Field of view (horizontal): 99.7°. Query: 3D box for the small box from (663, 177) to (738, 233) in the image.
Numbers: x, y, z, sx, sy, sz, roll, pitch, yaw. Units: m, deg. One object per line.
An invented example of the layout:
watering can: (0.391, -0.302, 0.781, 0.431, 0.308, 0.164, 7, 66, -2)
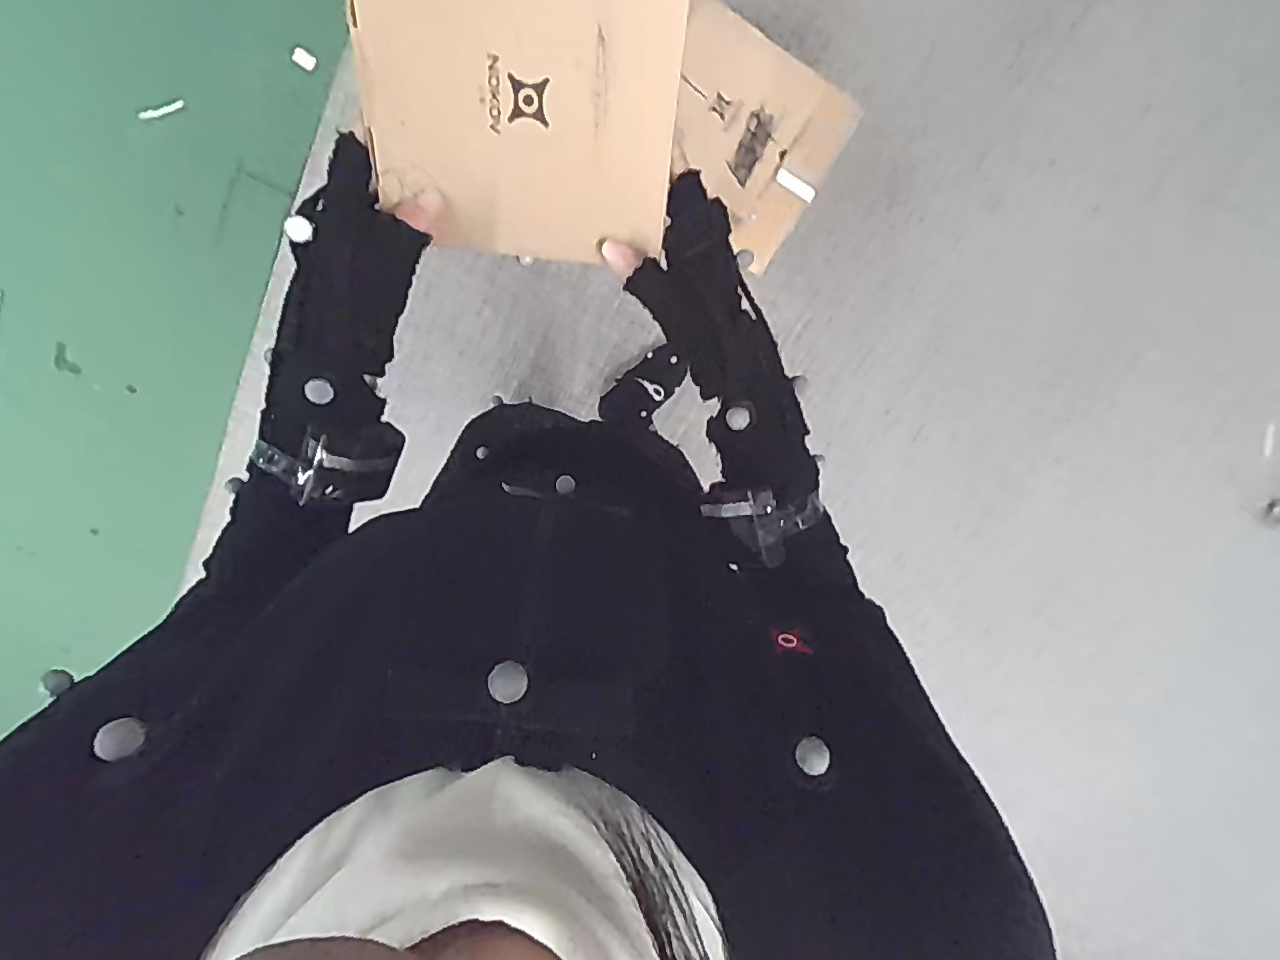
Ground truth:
small box: (0.128, -0.516, 0.855, 0.168, 0.176, 0.179, 33, 110, -5)

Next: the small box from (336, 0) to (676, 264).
small box: (-0.072, -0.254, 0.366, 0.179, 0.176, 0.168, 2, 124, -3)

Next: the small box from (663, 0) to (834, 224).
small box: (0.115, -0.456, 0.702, 0.179, 0.176, 0.168, 33, 109, -5)
